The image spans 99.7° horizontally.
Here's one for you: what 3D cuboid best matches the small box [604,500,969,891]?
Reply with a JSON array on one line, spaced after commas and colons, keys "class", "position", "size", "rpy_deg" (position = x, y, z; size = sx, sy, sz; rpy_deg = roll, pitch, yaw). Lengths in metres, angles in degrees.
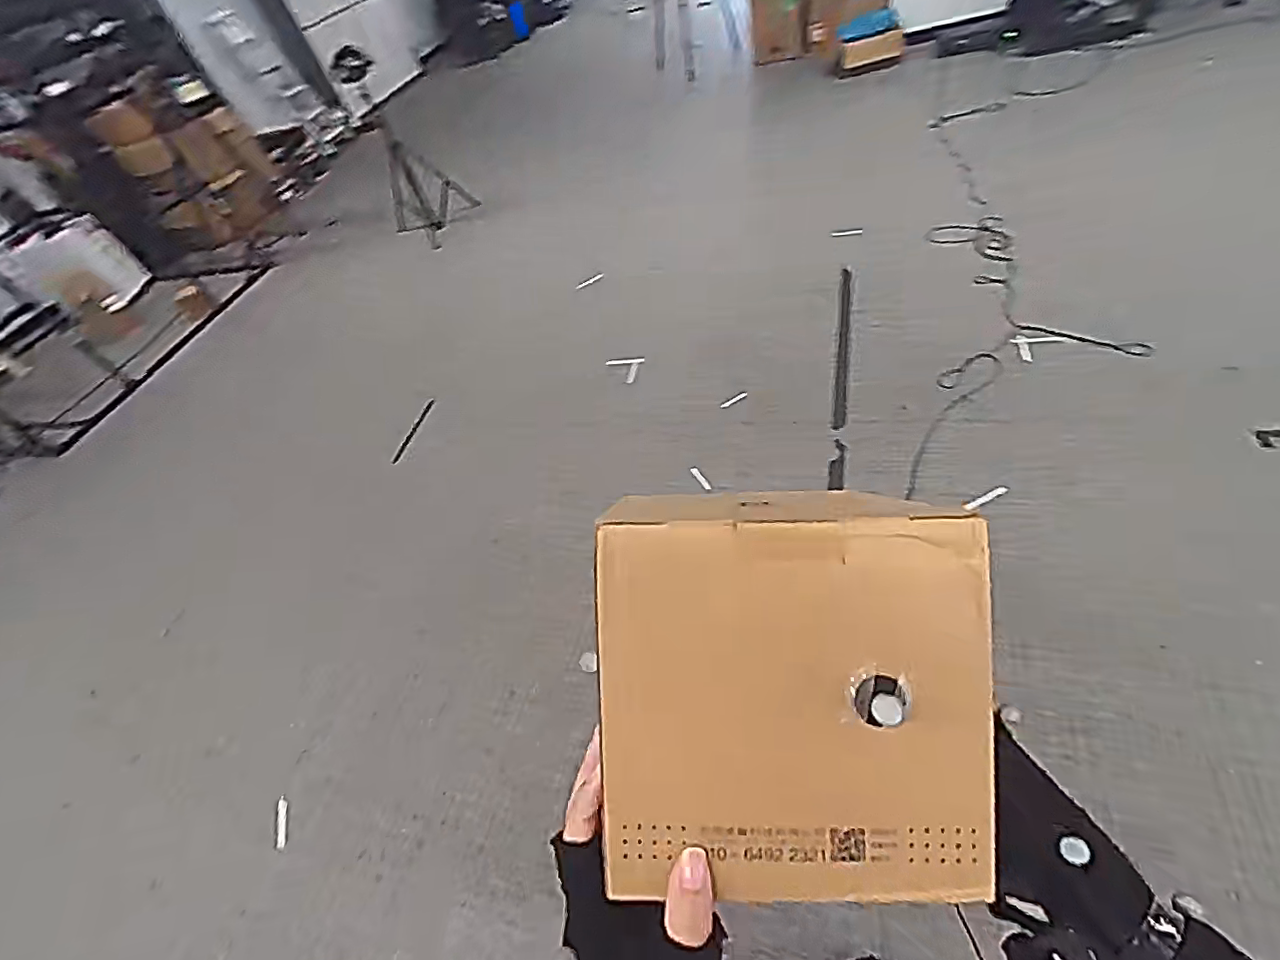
[{"class": "small box", "position": [0.076, 0.105, 0.328], "size": [0.168, 0.179, 0.176], "rpy_deg": [-1, 92, 5]}]
